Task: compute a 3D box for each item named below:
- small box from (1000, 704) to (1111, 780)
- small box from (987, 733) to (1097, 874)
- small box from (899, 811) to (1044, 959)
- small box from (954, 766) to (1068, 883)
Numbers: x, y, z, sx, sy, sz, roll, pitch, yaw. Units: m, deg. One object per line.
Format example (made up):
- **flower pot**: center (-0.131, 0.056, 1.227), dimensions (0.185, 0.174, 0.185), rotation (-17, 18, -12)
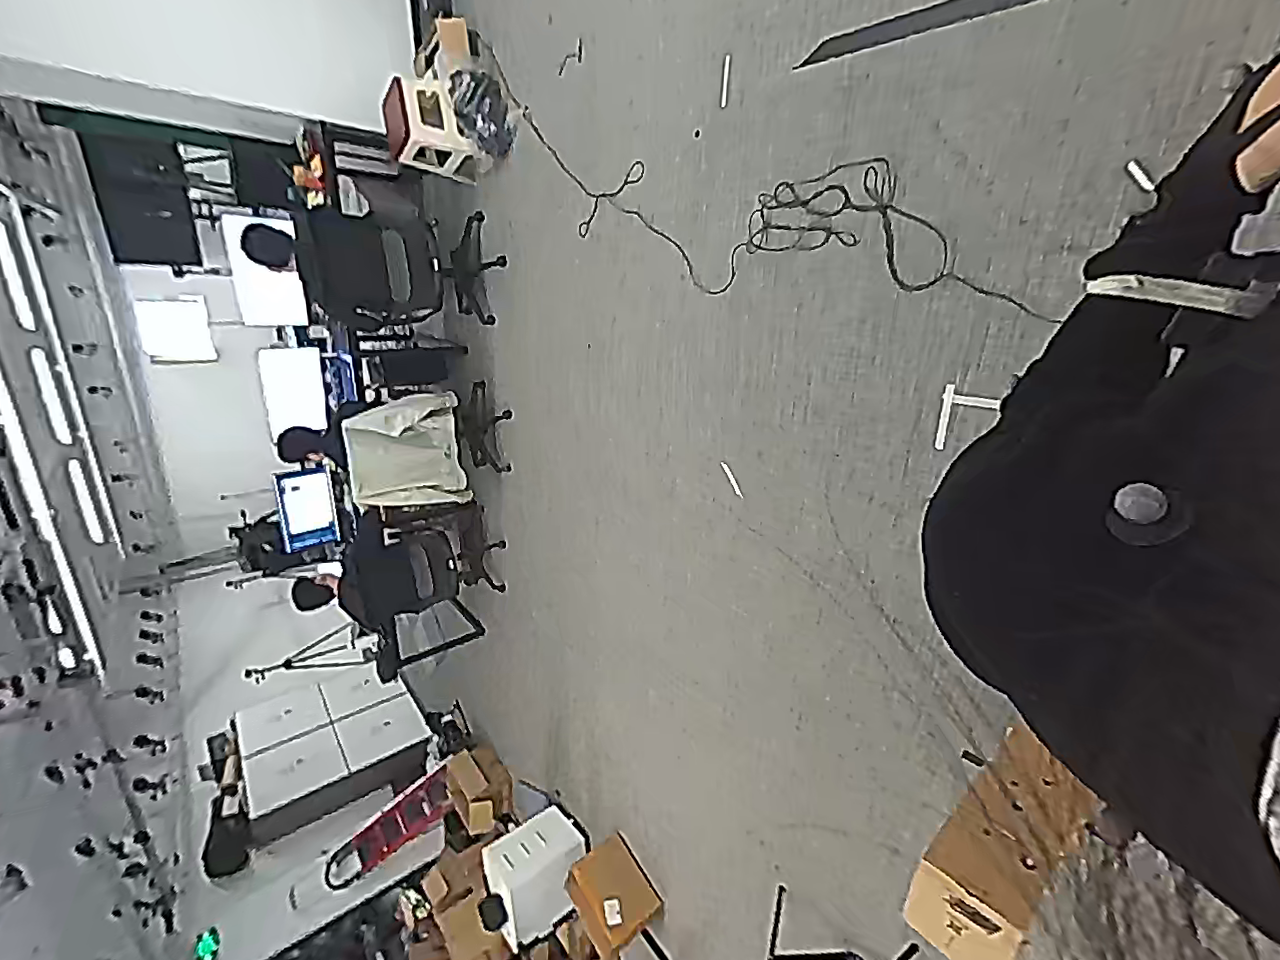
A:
- **small box**: center (0.990, 0.673, 1.307), dimensions (0.179, 0.176, 0.168), rotation (24, 119, 45)
- **small box**: center (0.870, 0.703, 1.199), dimensions (0.179, 0.176, 0.168), rotation (27, 120, 44)
- **small box**: center (0.615, 0.768, 1.002), dimensions (0.168, 0.176, 0.179), rotation (25, 120, 44)
- **small box**: center (0.739, 0.734, 1.105), dimensions (0.168, 0.176, 0.179), rotation (26, 120, 44)
